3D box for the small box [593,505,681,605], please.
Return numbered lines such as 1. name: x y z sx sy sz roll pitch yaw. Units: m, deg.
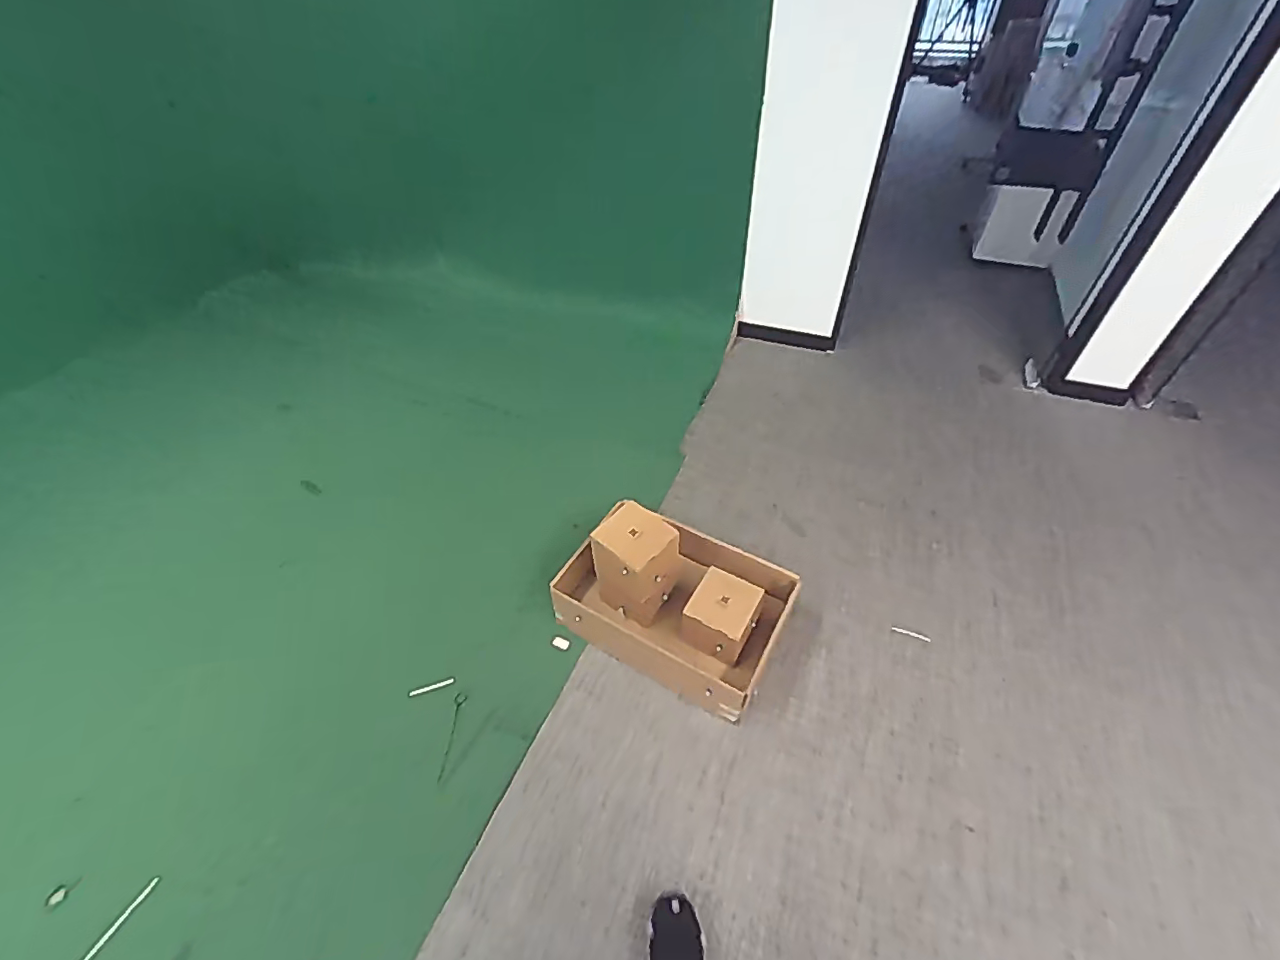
1. small box: -0.007 0.208 1.475 0.179 0.176 0.168 32 55 27
